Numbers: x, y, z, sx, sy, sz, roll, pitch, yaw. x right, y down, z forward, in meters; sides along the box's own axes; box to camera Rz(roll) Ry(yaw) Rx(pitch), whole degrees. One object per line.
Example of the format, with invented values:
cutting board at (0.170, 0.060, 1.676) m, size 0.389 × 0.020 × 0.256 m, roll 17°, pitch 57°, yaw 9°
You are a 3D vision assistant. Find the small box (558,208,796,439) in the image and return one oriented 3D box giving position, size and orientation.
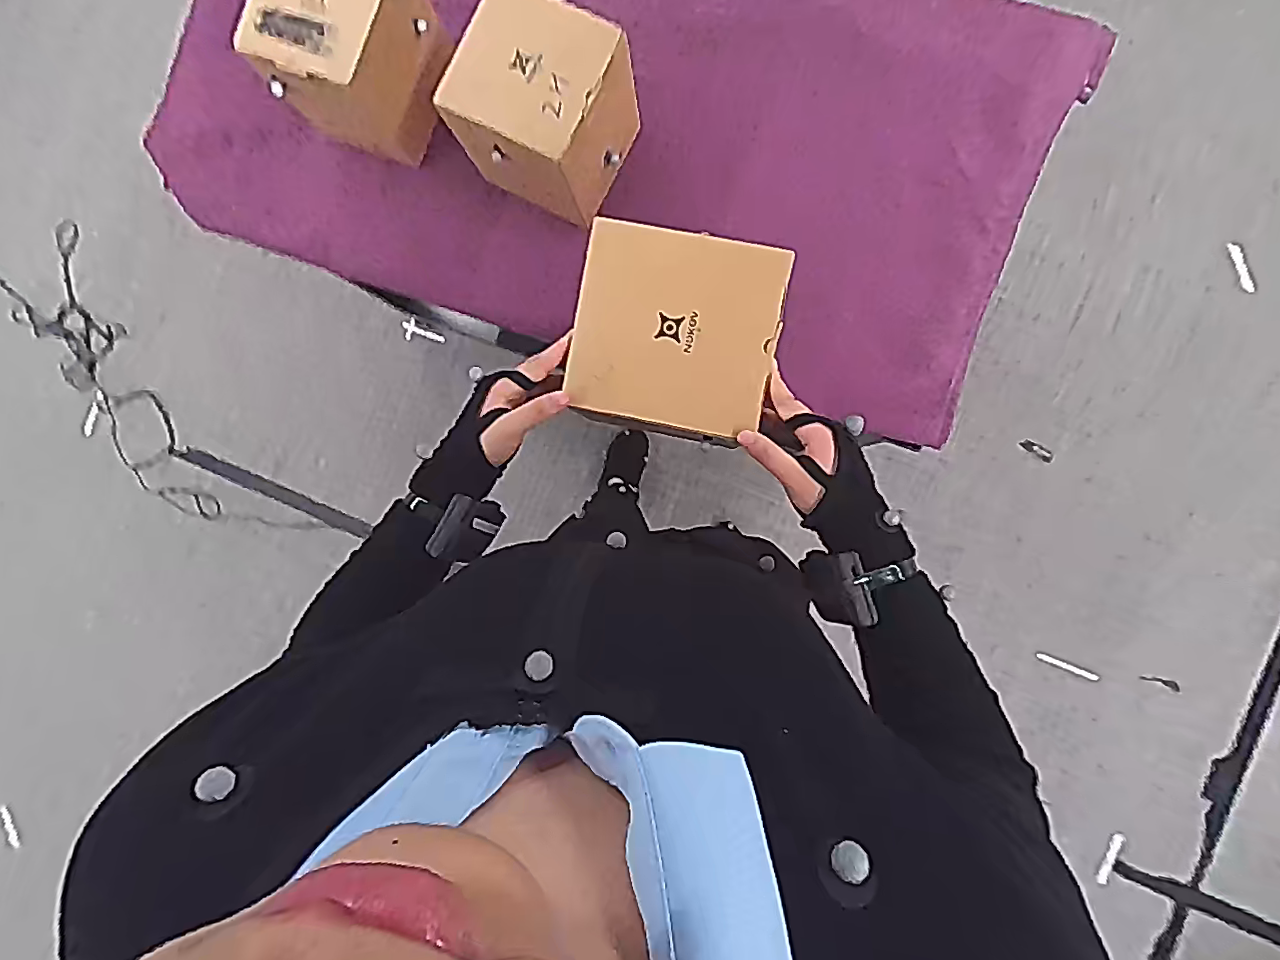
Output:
small box at (0.034, -0.138, 0.539) m, size 0.179 × 0.176 × 0.168 m, roll 12°, pitch 92°, yaw 2°

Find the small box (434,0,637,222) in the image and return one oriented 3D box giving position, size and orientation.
small box at (-0.121, -0.470, 0.697) m, size 0.179 × 0.176 × 0.168 m, roll 28°, pitch 92°, yaw 5°
